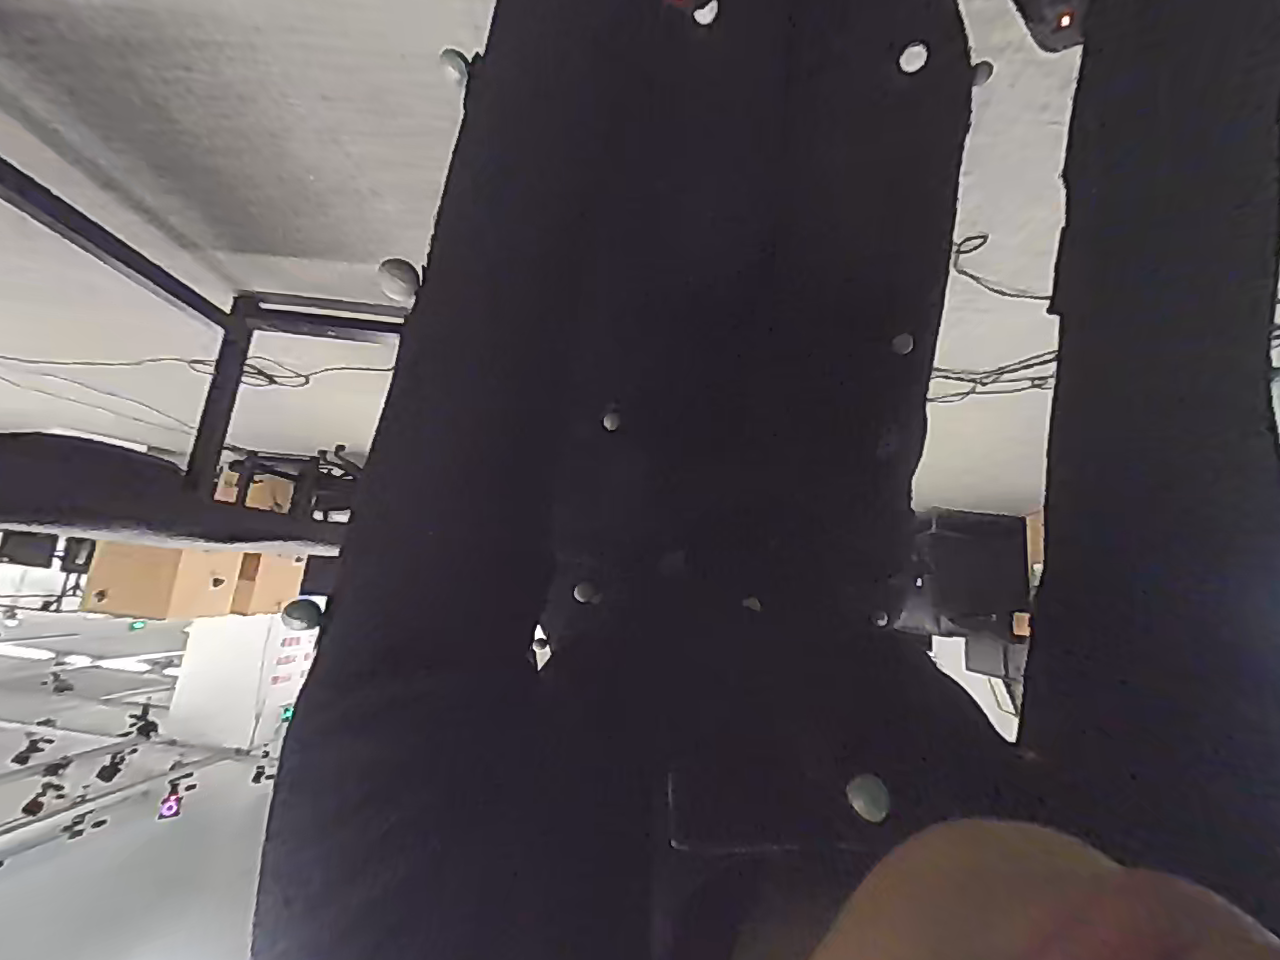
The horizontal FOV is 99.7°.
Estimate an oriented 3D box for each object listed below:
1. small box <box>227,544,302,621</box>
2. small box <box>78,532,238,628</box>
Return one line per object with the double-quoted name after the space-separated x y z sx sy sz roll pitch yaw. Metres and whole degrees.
-0.977 0.250 1.341 0.179 0.176 0.168 6 168 5 "small box"
-0.971 0.201 1.110 0.179 0.176 0.168 7 169 2 "small box"
